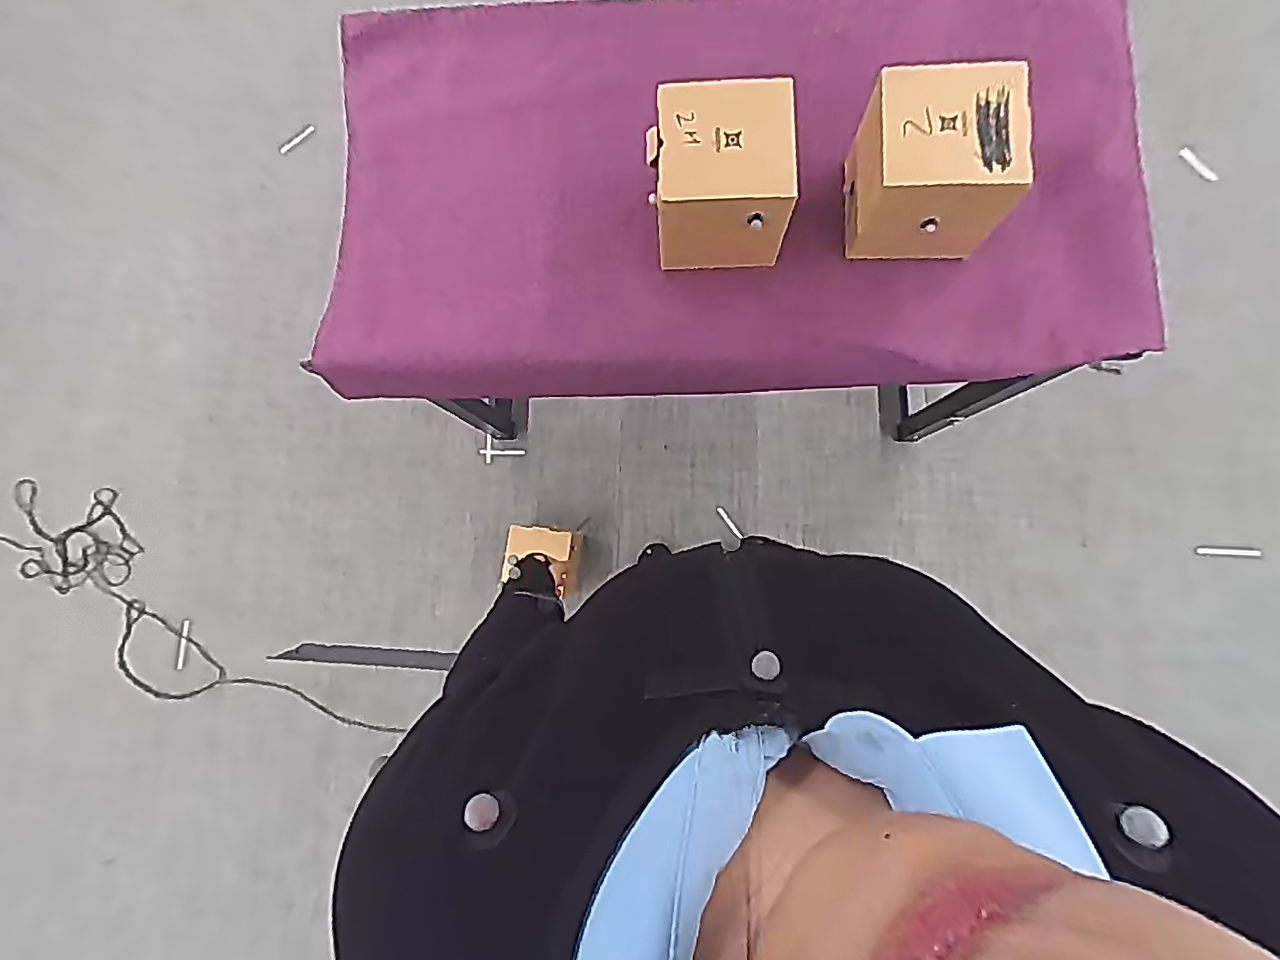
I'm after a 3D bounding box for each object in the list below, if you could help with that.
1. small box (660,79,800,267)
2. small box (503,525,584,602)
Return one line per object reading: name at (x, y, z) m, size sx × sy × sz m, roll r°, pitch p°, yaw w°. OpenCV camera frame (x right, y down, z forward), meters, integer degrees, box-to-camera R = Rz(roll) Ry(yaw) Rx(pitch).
small box at (0.117, -0.418, 0.761) m, size 0.179 × 0.176 × 0.168 m, roll -1°, pitch 82°, yaw 5°
small box at (-0.252, 0.220, 1.451) m, size 0.168 × 0.176 × 0.179 m, roll 7°, pitch 84°, yaw 5°
